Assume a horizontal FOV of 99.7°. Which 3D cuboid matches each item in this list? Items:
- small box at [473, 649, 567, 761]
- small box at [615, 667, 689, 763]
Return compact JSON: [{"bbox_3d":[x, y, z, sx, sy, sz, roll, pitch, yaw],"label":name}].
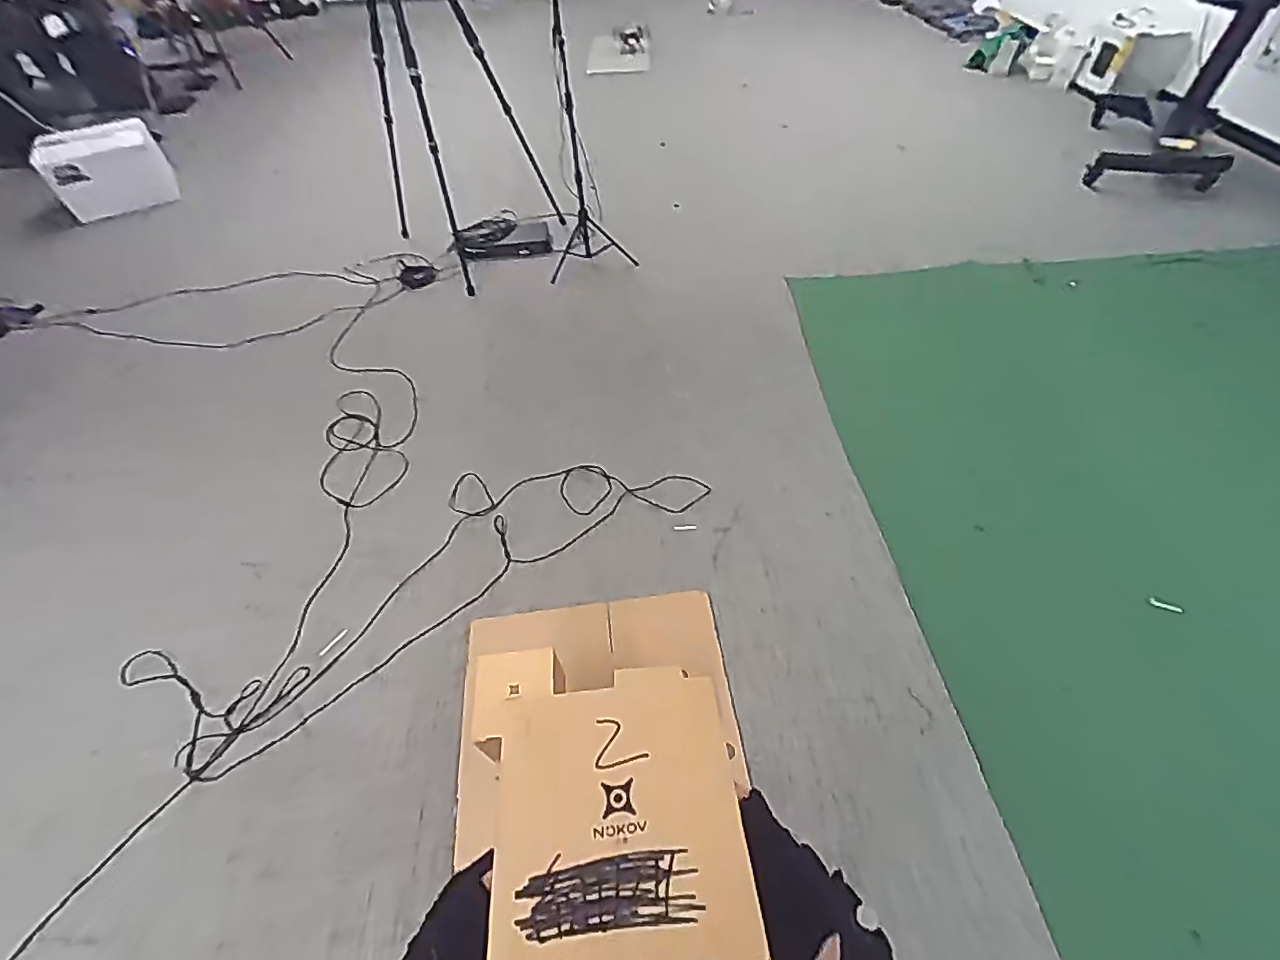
[{"bbox_3d":[-0.253,0.491,1.177,0.168,0.176,0.179,-7,51,-2],"label":"small box"},{"bbox_3d":[0.028,0.570,1.308,0.168,0.176,0.179,-4,52,1],"label":"small box"}]
